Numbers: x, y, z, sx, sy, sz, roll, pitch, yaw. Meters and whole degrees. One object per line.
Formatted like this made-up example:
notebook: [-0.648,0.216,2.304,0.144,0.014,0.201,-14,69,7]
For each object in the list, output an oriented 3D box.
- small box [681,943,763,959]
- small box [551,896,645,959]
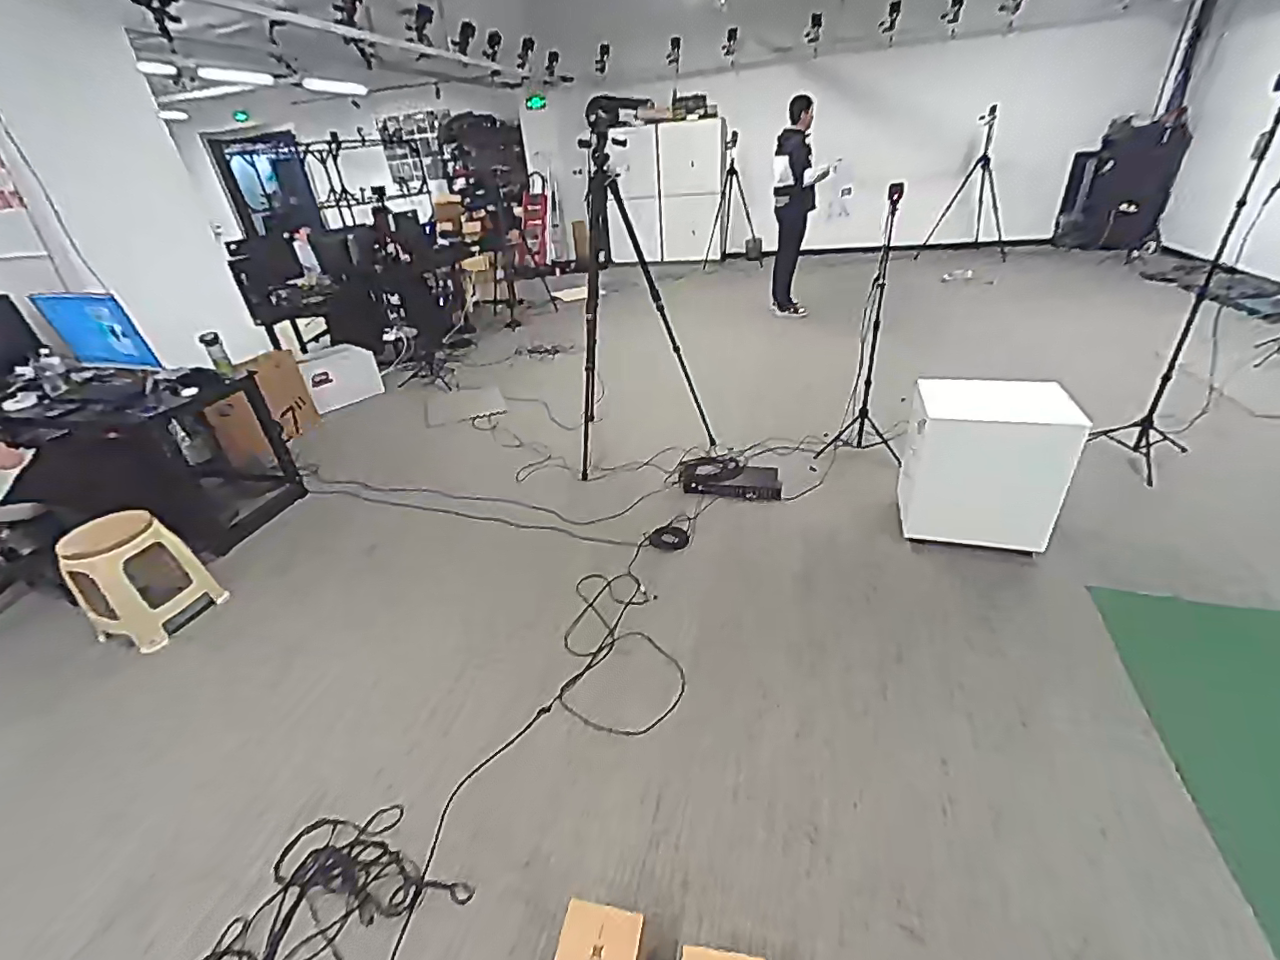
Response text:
small box: [0.154,1.045,1.040,0.168,0.176,0.179,1,33,11]
small box: [-0.087,1.016,1.120,0.168,0.176,0.179,3,31,13]
